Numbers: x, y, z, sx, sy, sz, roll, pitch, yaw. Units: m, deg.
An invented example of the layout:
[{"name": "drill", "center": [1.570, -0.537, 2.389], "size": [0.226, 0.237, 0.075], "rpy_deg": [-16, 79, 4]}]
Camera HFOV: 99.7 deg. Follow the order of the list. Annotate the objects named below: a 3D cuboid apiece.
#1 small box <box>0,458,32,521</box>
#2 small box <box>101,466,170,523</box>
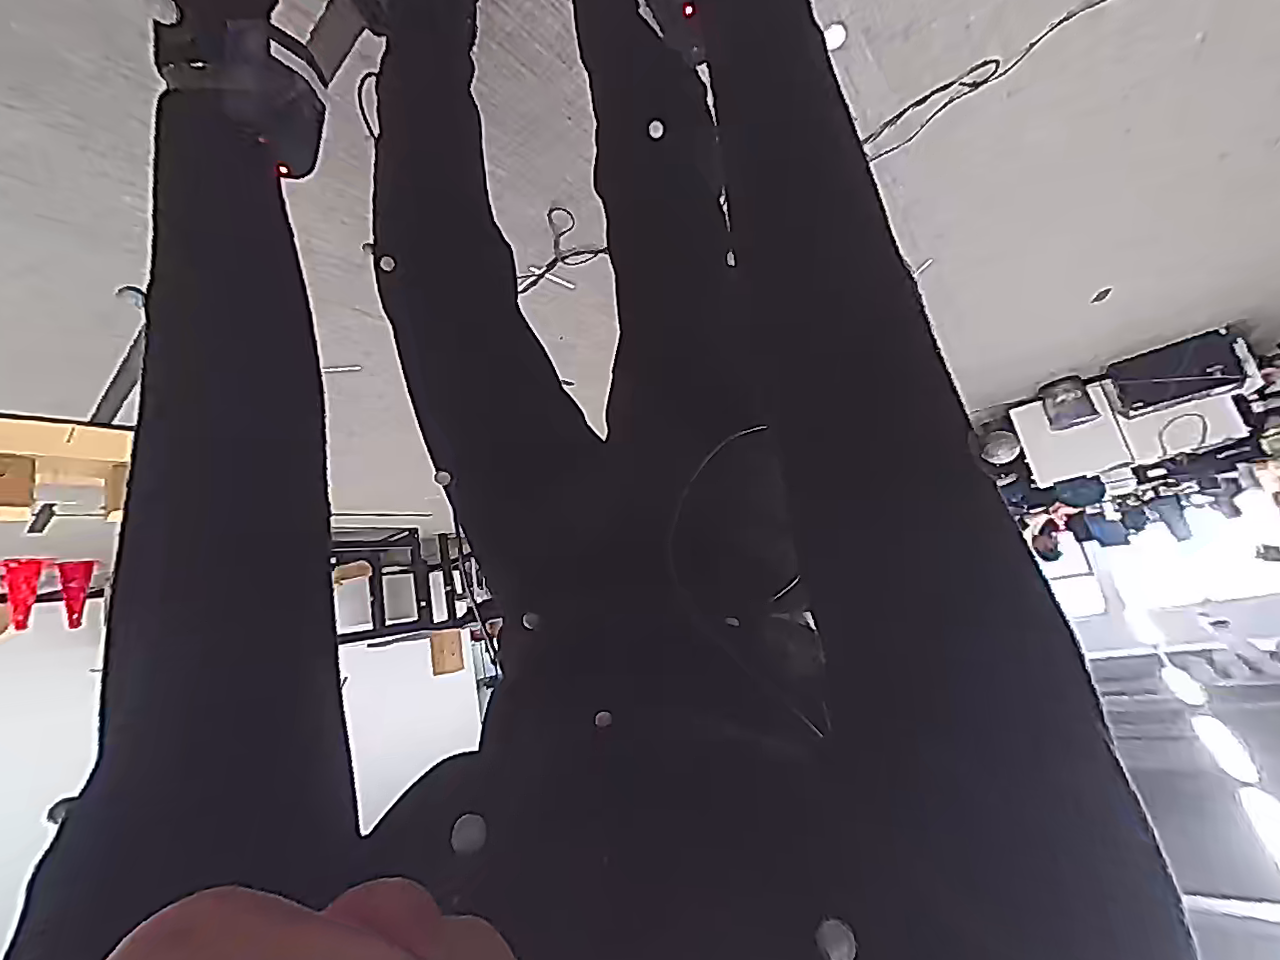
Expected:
[{"name": "small box", "center": [-2.084, 0.031, 1.737], "size": [0.179, 0.176, 0.168], "rpy_deg": [-23, 163, 40]}, {"name": "small box", "center": [-1.869, 0.057, 2.004], "size": [0.179, 0.176, 0.168], "rpy_deg": [-22, 164, 36]}]
